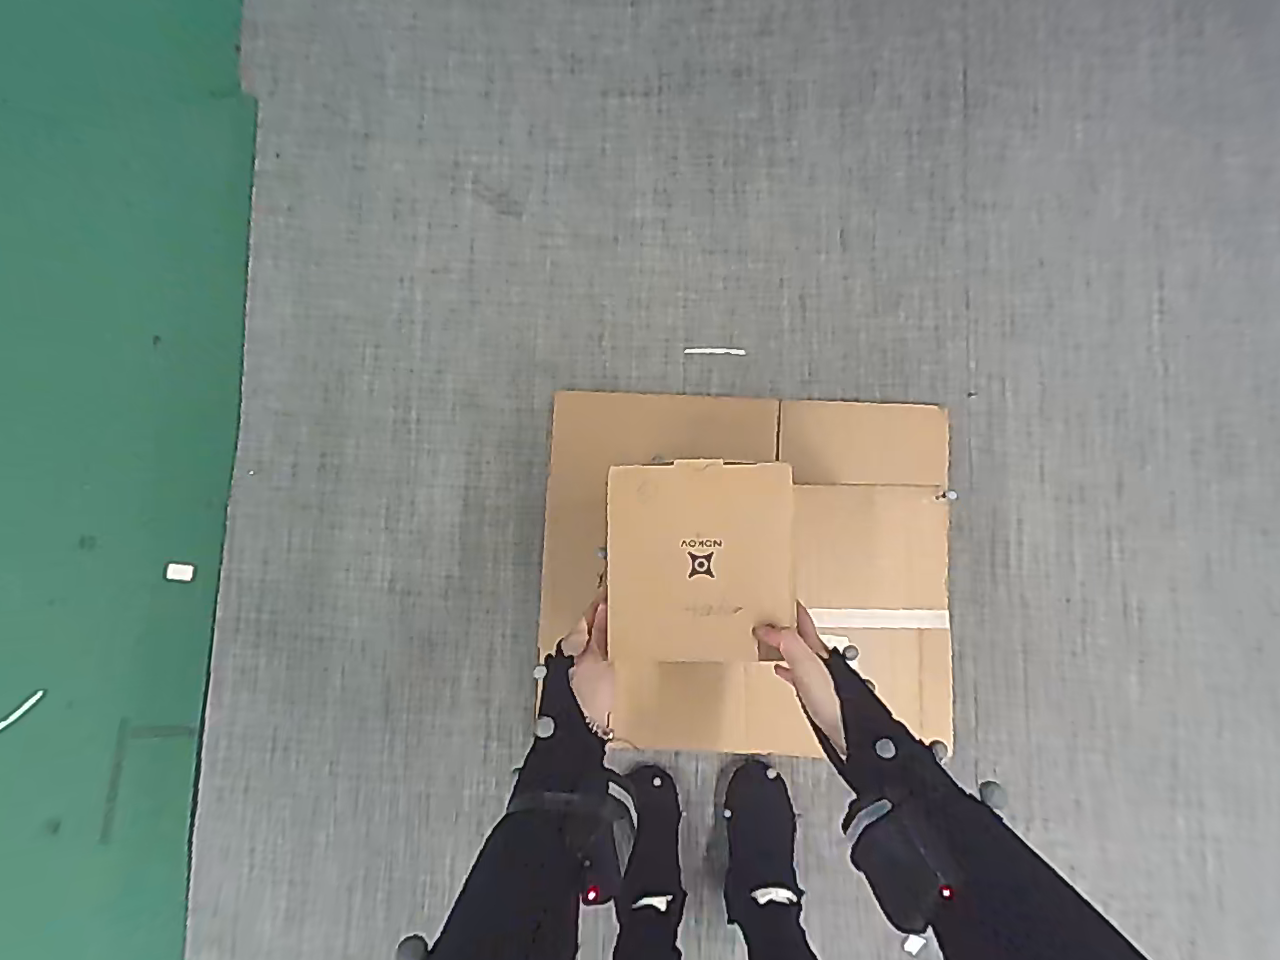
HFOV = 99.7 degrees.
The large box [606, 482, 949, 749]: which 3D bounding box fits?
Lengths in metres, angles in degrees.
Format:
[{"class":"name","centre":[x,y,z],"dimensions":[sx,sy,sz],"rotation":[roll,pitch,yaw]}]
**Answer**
[{"class":"large box","centre":[0.158,0.171,0.785],"dimensions":[0.408,0.320,0.320],"rotation":[1,85,0]}]

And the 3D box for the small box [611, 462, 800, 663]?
[{"class":"small box","centre":[0.058,0.079,0.552],"dimensions":[0.168,0.176,0.179],"rotation":[-1,85,2]}]
